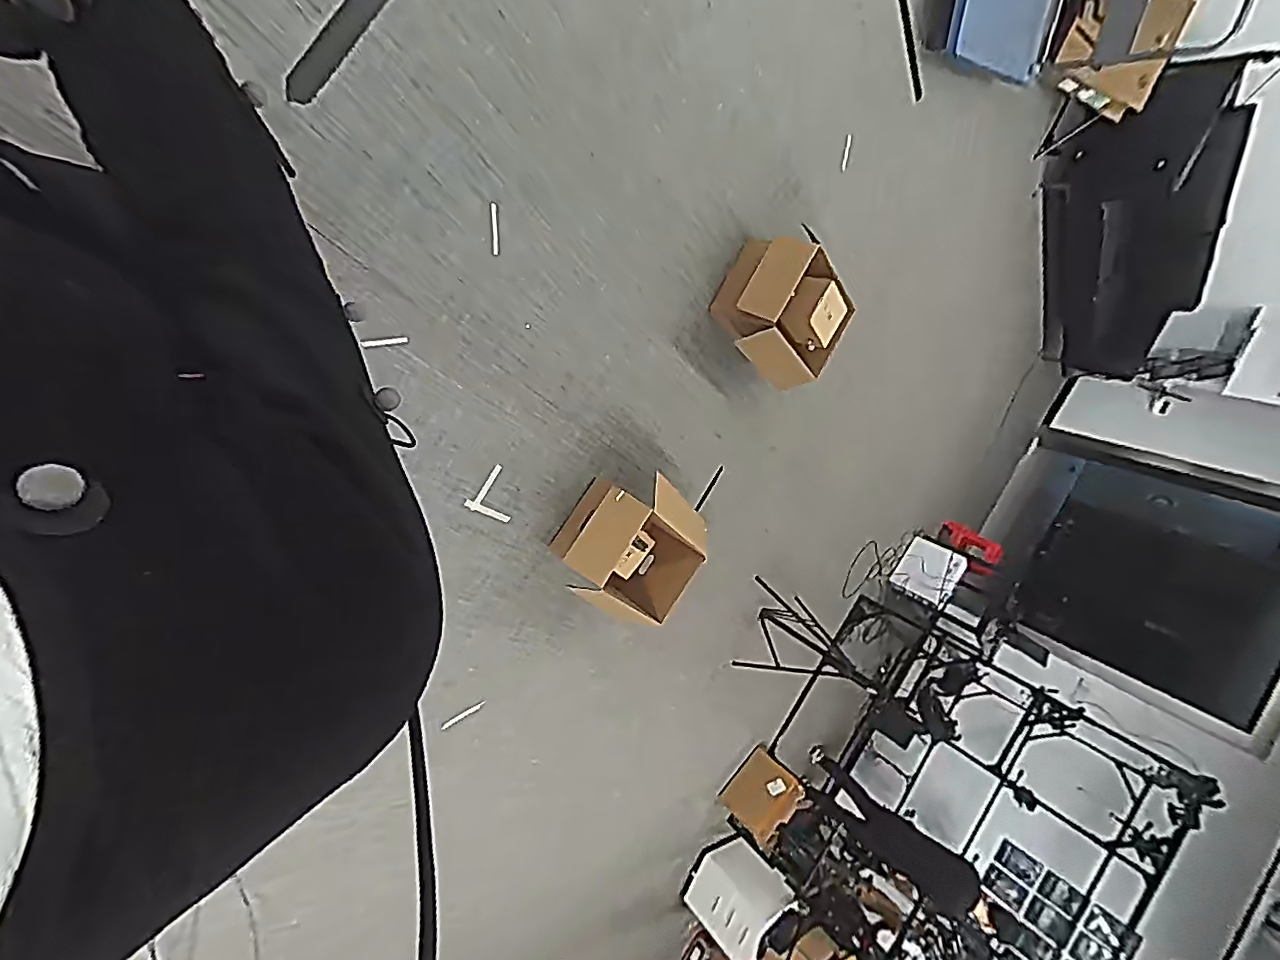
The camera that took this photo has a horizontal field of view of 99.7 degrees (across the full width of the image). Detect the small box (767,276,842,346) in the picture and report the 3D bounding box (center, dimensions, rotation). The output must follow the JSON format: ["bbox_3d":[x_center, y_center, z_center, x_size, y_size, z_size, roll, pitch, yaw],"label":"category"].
[{"bbox_3d":[0.590,-0.611,1.938,0.179,0.176,0.168,34,86,-47],"label":"small box"}]
